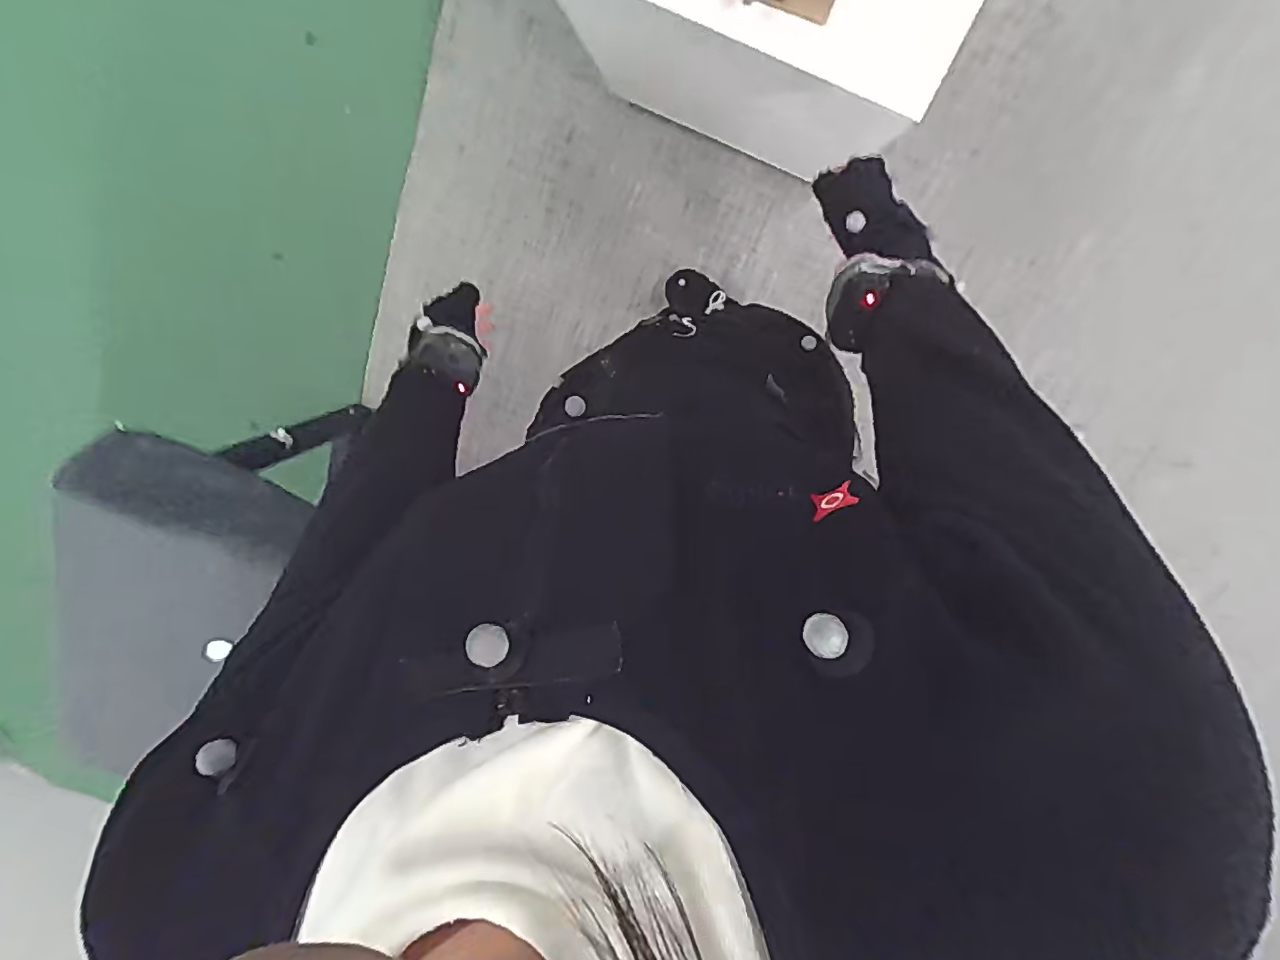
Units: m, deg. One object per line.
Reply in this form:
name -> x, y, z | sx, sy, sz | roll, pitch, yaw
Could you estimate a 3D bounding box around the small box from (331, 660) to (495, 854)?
small box -> -0.346, 0.408, 0.819 | 0.179, 0.176, 0.168 | 26, 113, -1
